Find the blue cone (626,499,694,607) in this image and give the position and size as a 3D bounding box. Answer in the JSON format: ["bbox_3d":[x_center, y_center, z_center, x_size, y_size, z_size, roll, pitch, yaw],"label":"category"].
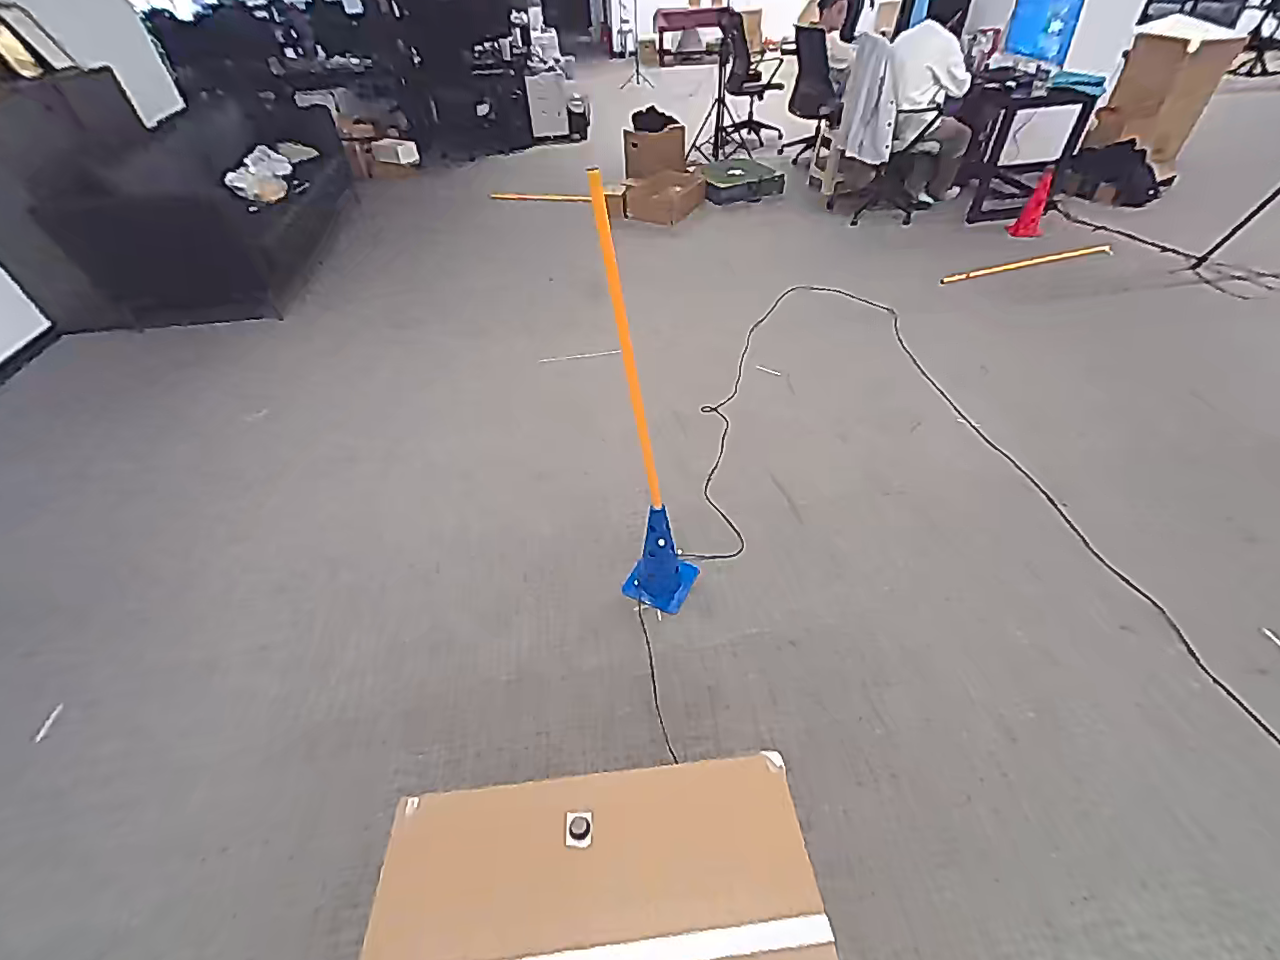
[{"bbox_3d":[0.056,0.200,1.626,0.192,0.380,0.193,16,49,20],"label":"blue cone"}]
